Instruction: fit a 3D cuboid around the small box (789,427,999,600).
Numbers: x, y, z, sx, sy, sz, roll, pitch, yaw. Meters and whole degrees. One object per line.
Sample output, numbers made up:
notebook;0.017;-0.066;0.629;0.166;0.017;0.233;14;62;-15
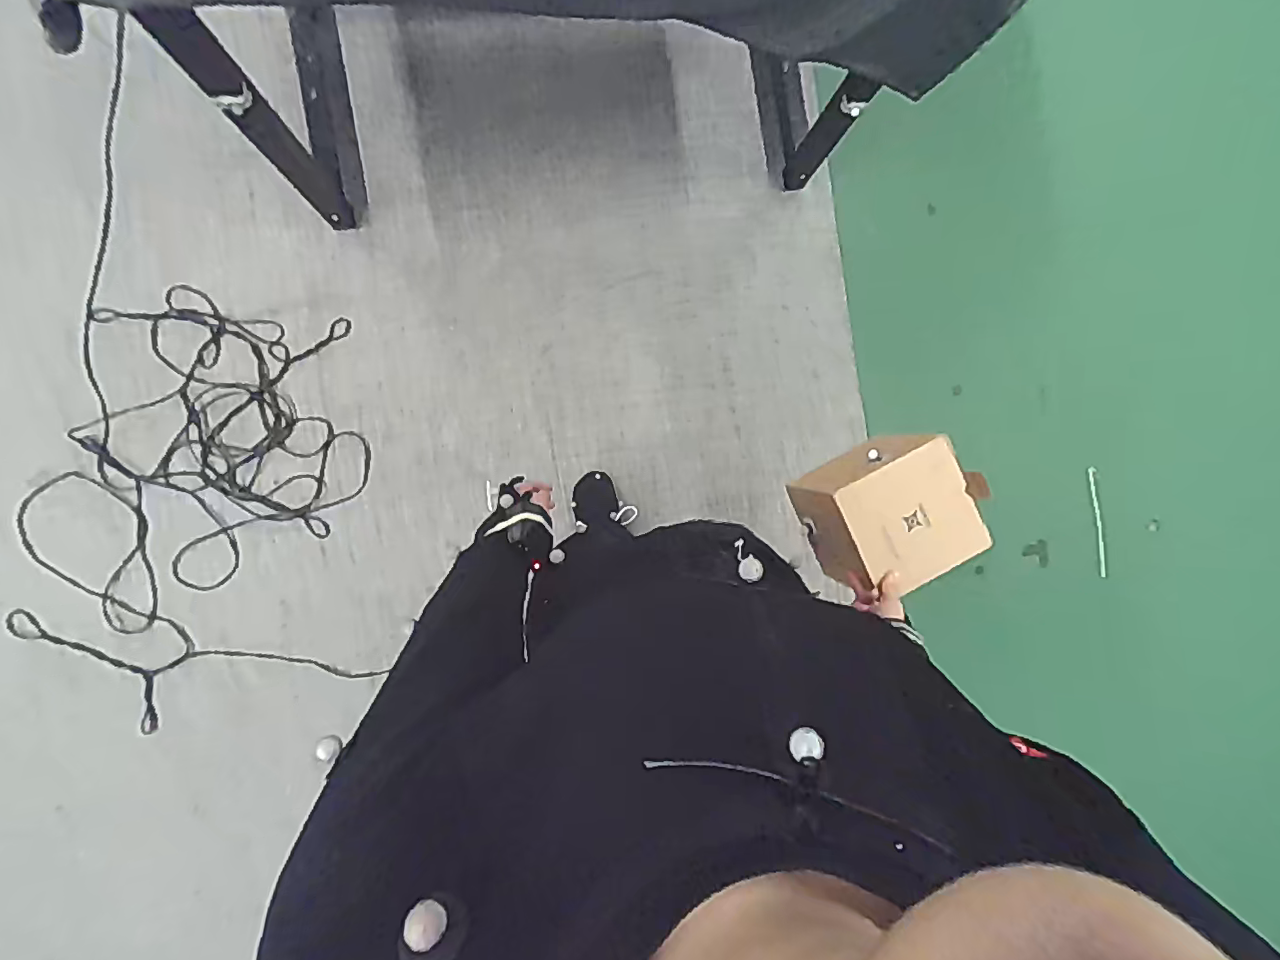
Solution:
small box;0.342;0.036;0.760;0.179;0.176;0.168;-28;96;-3
